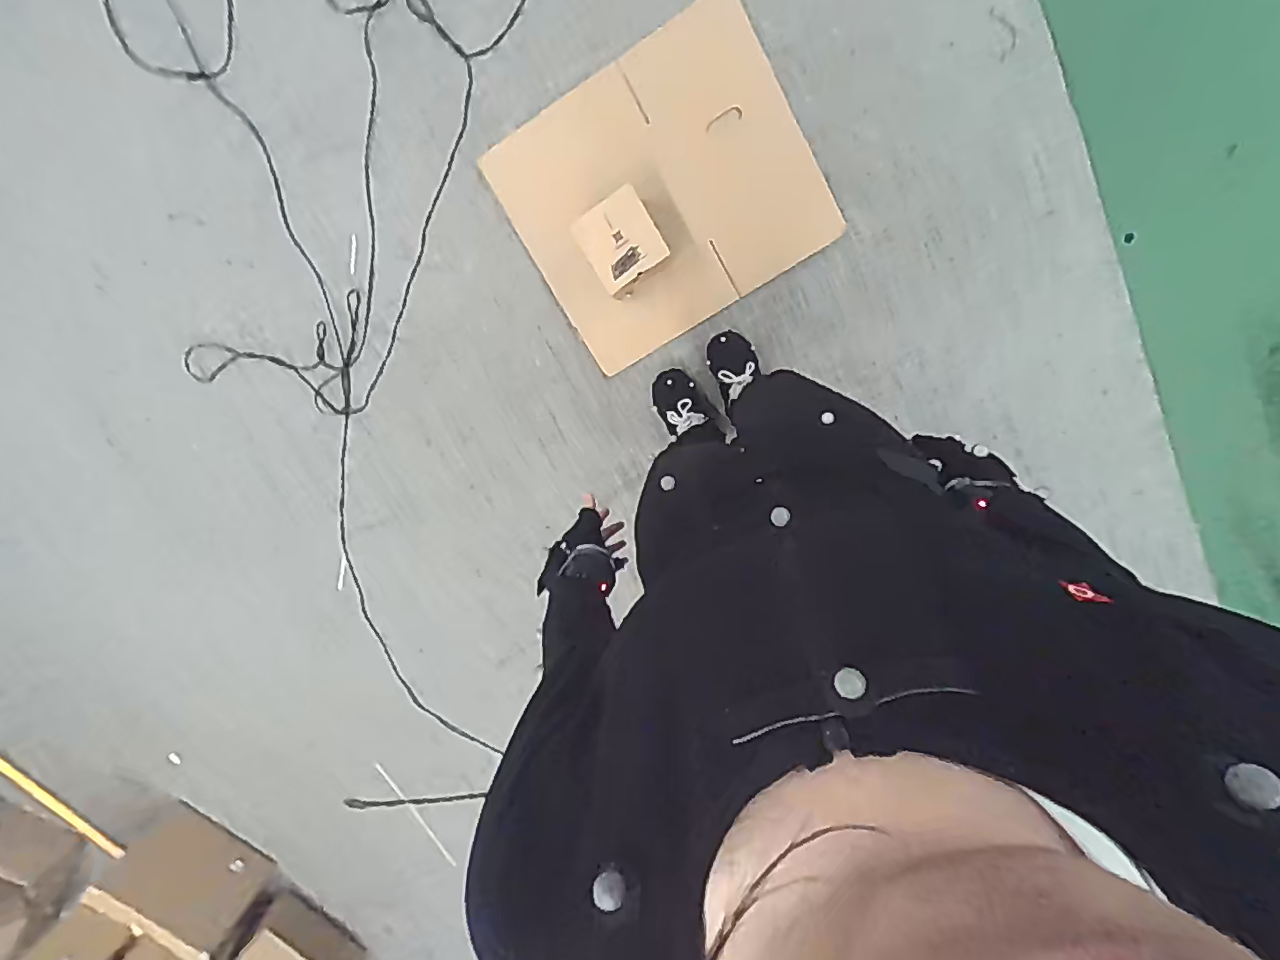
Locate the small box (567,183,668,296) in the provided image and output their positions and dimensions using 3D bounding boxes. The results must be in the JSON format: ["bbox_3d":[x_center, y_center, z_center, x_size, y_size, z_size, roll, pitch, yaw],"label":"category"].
[{"bbox_3d":[-0.044,-0.548,1.261,0.168,0.176,0.179,-32,101,10],"label":"small box"}]
